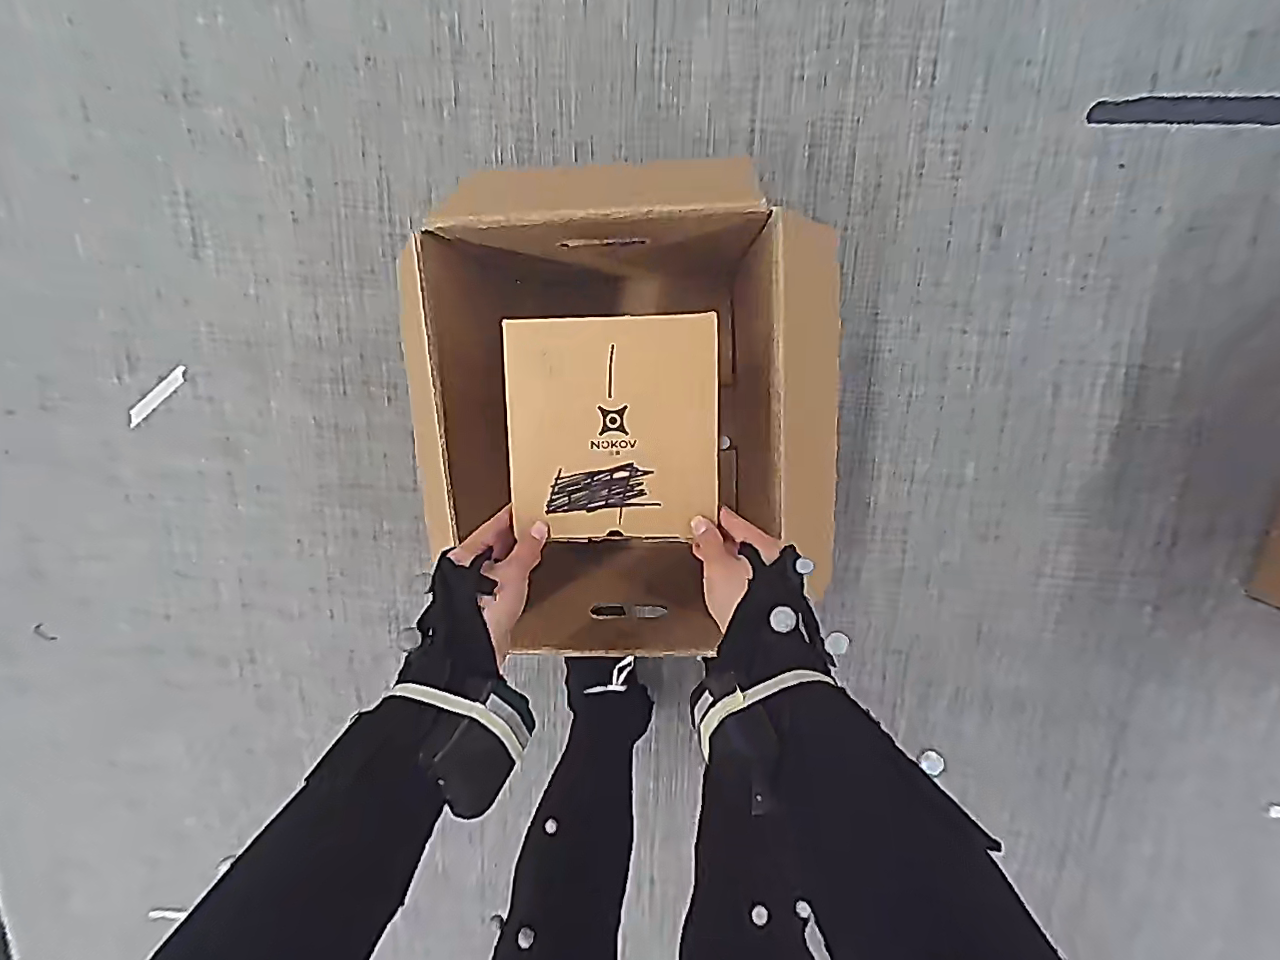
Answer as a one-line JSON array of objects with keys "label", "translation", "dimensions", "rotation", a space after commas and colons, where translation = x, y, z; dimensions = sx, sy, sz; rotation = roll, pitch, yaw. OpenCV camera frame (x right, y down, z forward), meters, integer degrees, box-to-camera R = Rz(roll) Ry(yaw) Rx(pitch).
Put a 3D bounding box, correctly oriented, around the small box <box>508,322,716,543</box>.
[{"label": "small box", "translation": [-0.017, -0.046, 0.510], "dimensions": [0.168, 0.176, 0.179], "rotation": [-1, 97, 3]}]
